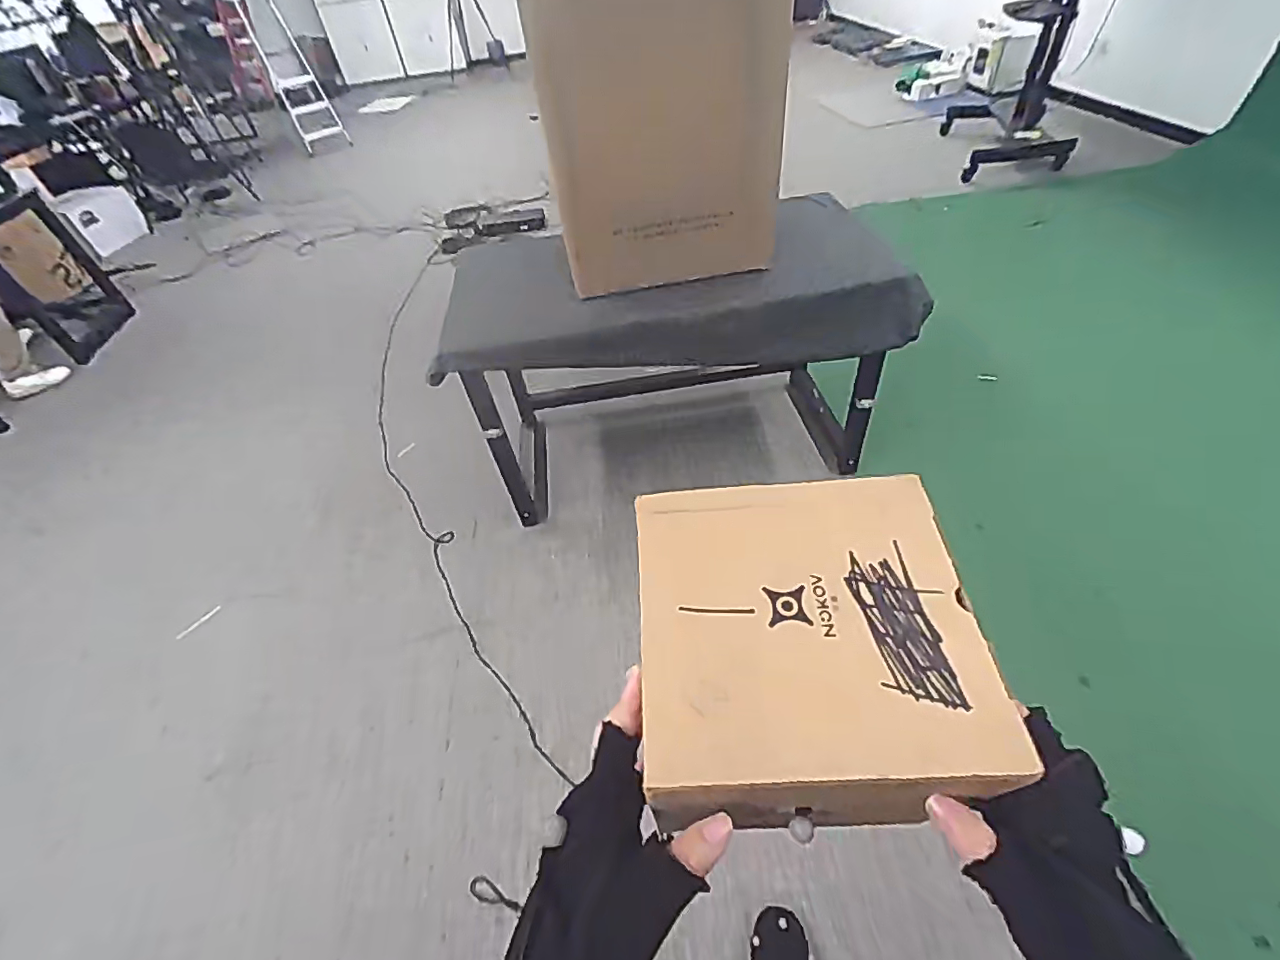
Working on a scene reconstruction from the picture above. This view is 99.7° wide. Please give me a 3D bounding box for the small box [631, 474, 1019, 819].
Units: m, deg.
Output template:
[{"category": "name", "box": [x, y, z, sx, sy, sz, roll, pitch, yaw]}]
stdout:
[{"category": "small box", "box": [0.088, 0.113, 0.352, 0.179, 0.176, 0.168, -3, 51, 3]}]
